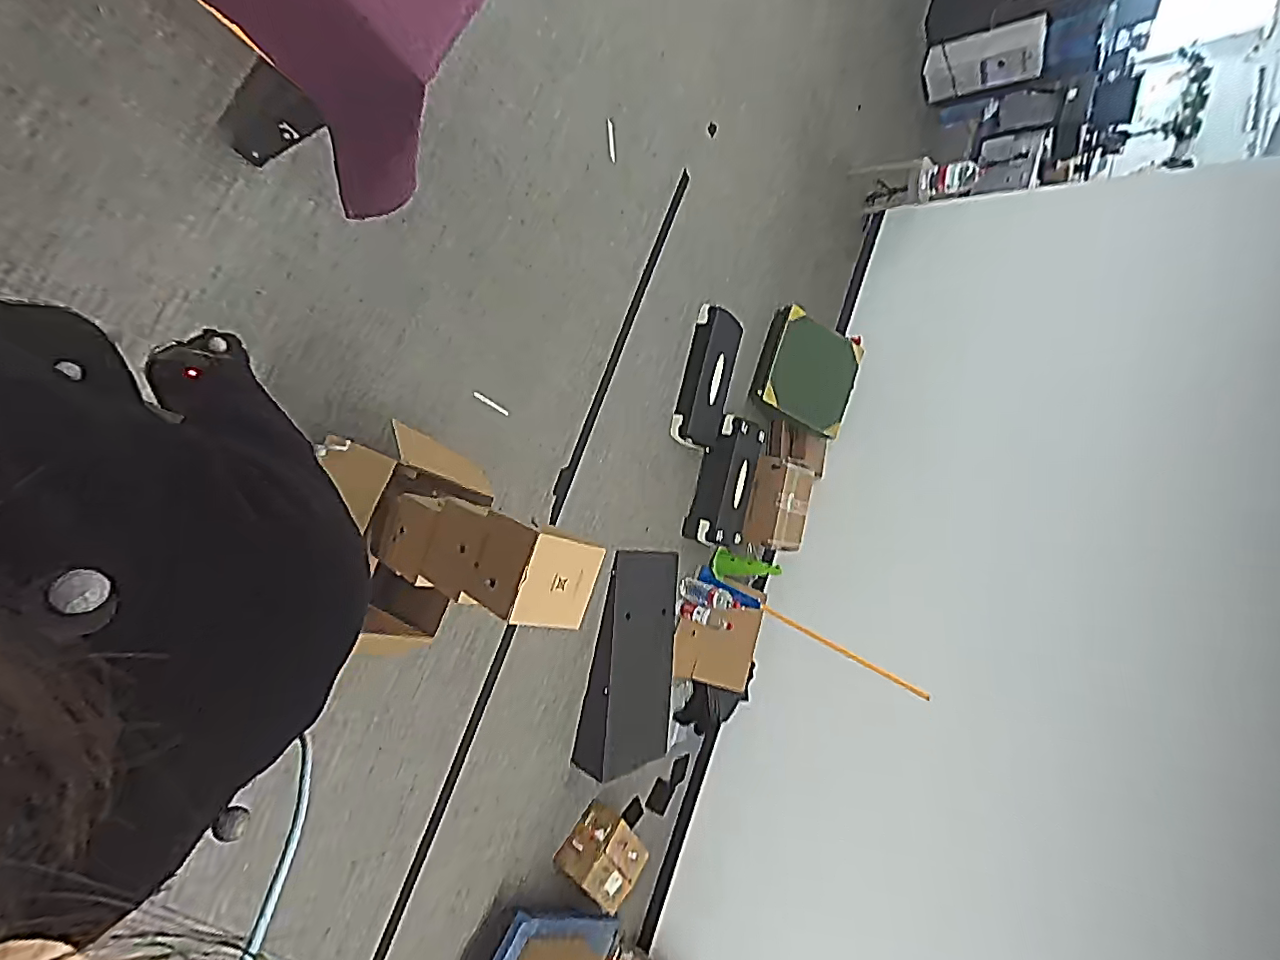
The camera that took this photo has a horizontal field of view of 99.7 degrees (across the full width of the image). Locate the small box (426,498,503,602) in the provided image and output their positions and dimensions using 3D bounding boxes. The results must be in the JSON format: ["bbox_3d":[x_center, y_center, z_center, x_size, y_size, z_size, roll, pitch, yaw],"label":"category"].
[{"bbox_3d":[-0.326,0.148,1.144,0.168,0.176,0.179,21,87,-47],"label":"small box"}]

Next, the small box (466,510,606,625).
[{"bbox_3d":[-0.203,0.164,1.037,0.179,0.176,0.168,22,86,-48],"label":"small box"}]

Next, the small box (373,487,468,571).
[{"bbox_3d":[-0.560,0.115,1.375,0.168,0.176,0.179,0,103,-48],"label":"small box"}]
